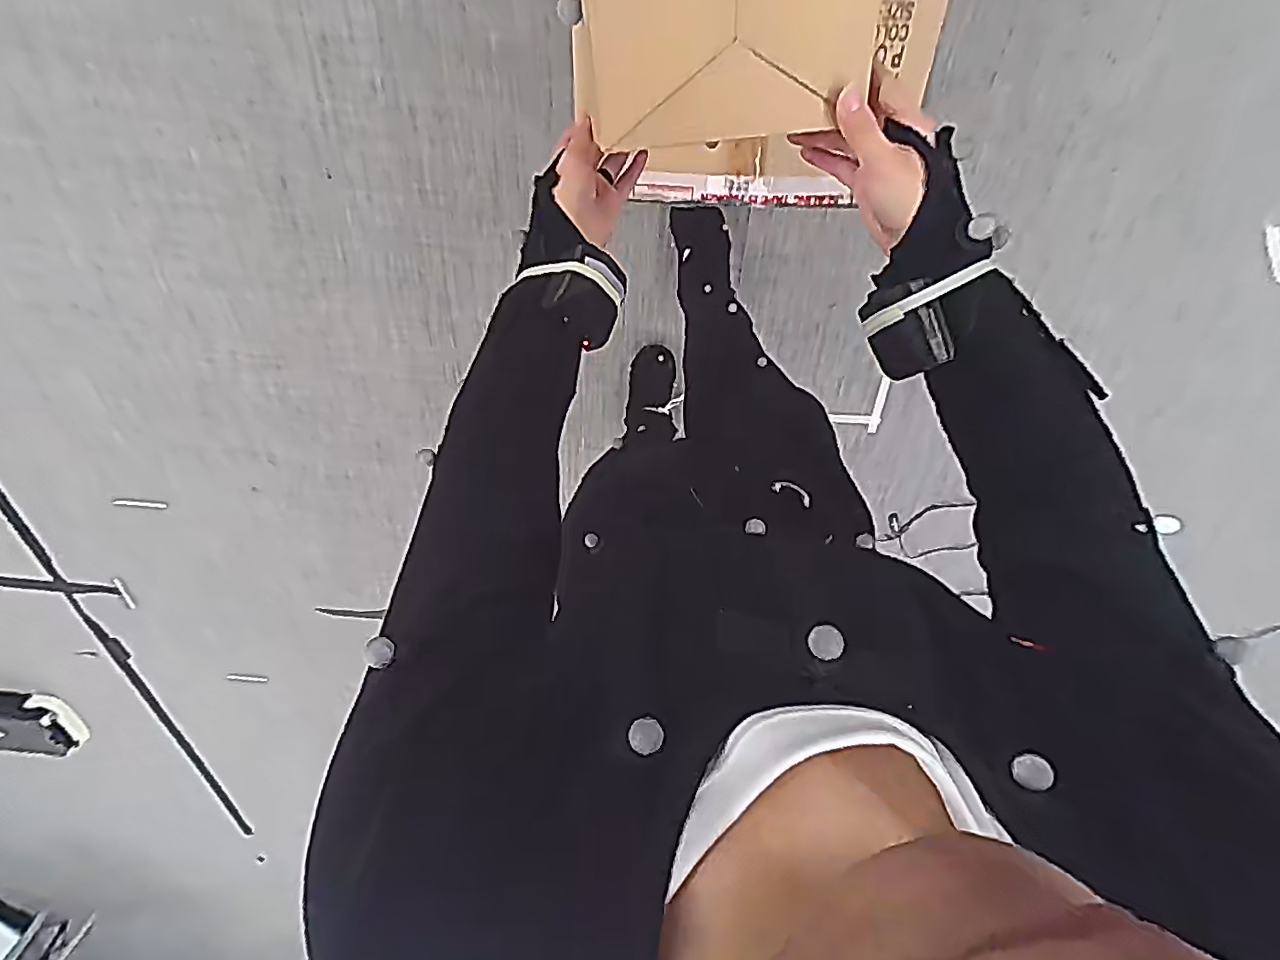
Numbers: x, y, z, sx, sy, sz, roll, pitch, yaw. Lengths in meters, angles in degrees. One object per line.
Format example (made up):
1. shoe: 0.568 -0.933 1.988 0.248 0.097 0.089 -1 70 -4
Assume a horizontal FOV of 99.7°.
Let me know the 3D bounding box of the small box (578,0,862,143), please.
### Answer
1. small box: 0.046 -0.343 0.378 0.179 0.176 0.168 -8 126 -3
